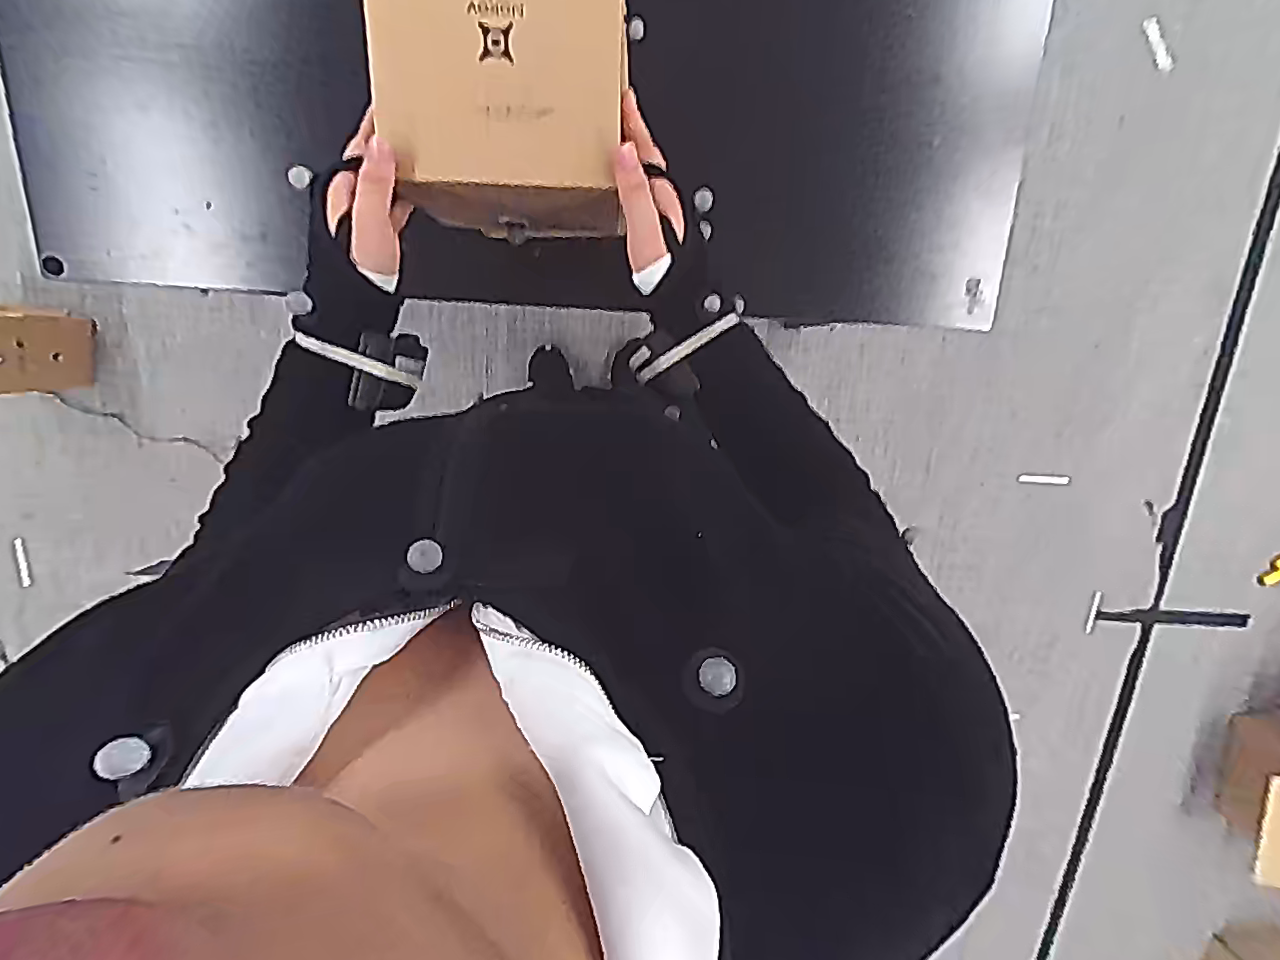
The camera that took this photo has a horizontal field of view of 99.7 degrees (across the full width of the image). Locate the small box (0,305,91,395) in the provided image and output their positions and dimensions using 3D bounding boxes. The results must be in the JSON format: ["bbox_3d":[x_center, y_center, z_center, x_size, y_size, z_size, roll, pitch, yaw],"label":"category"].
[{"bbox_3d":[-1.449,-0.309,1.268,0.168,0.176,0.179,11,103,-6],"label":"small box"}]

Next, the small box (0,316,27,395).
[{"bbox_3d":[-1.430,-0.264,1.111,0.179,0.176,0.168,8,102,-5],"label":"small box"}]

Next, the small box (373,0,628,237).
[{"bbox_3d":[-0.094,-0.306,0.432,0.168,0.176,0.179,1,105,-2],"label":"small box"}]
